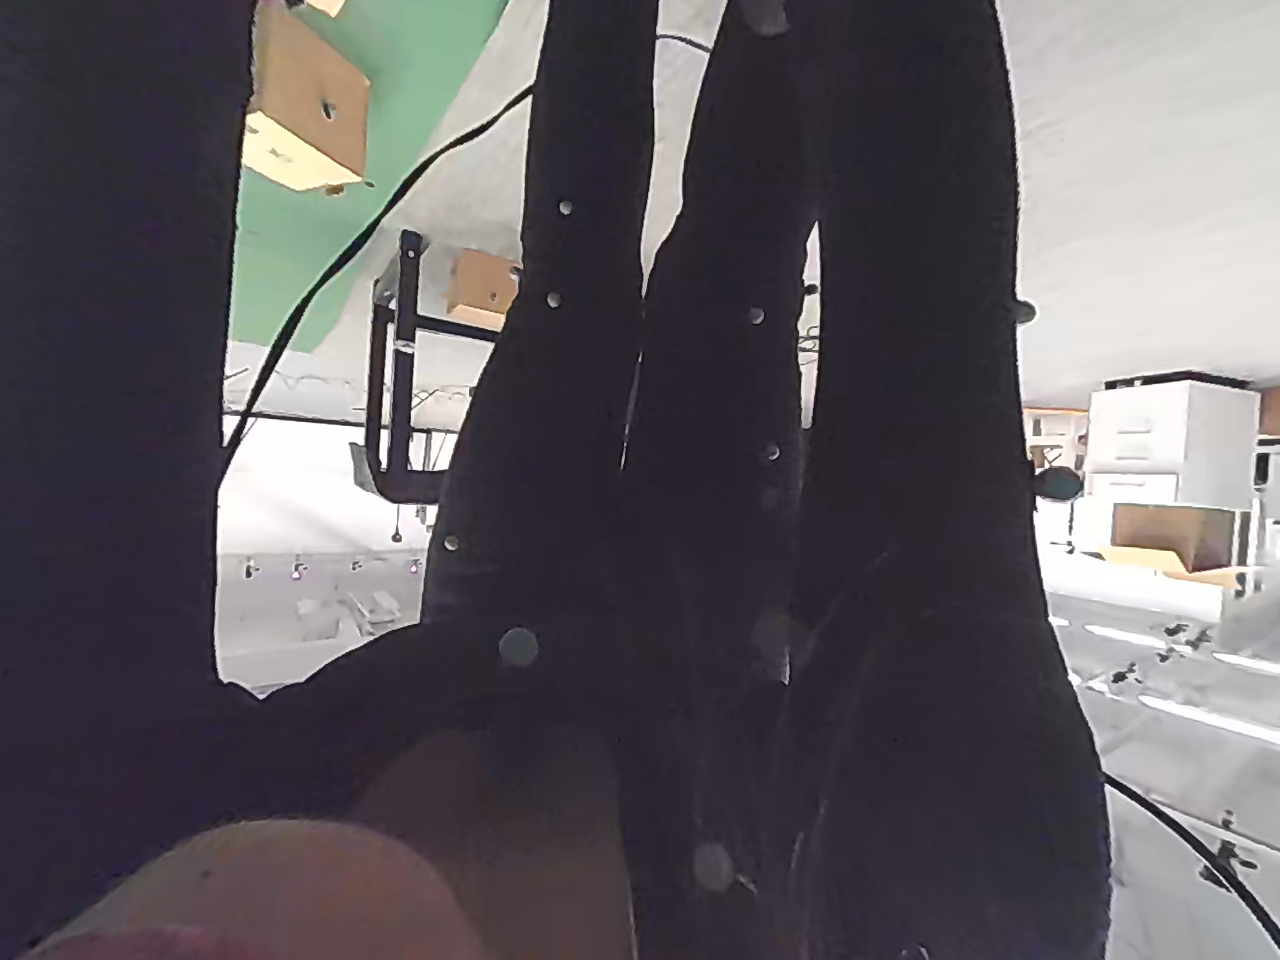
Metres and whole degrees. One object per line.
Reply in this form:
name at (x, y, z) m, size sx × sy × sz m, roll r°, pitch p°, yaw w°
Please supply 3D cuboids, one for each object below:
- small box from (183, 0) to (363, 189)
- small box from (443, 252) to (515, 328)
small box at (-0.557, -0.585, 0.838) m, size 0.168 × 0.176 × 0.179 m, roll 4°, pitch -179°, yaw 21°
small box at (-0.496, -0.585, 1.672) m, size 0.179 × 0.176 × 0.168 m, roll 3°, pitch 179°, yaw -34°
